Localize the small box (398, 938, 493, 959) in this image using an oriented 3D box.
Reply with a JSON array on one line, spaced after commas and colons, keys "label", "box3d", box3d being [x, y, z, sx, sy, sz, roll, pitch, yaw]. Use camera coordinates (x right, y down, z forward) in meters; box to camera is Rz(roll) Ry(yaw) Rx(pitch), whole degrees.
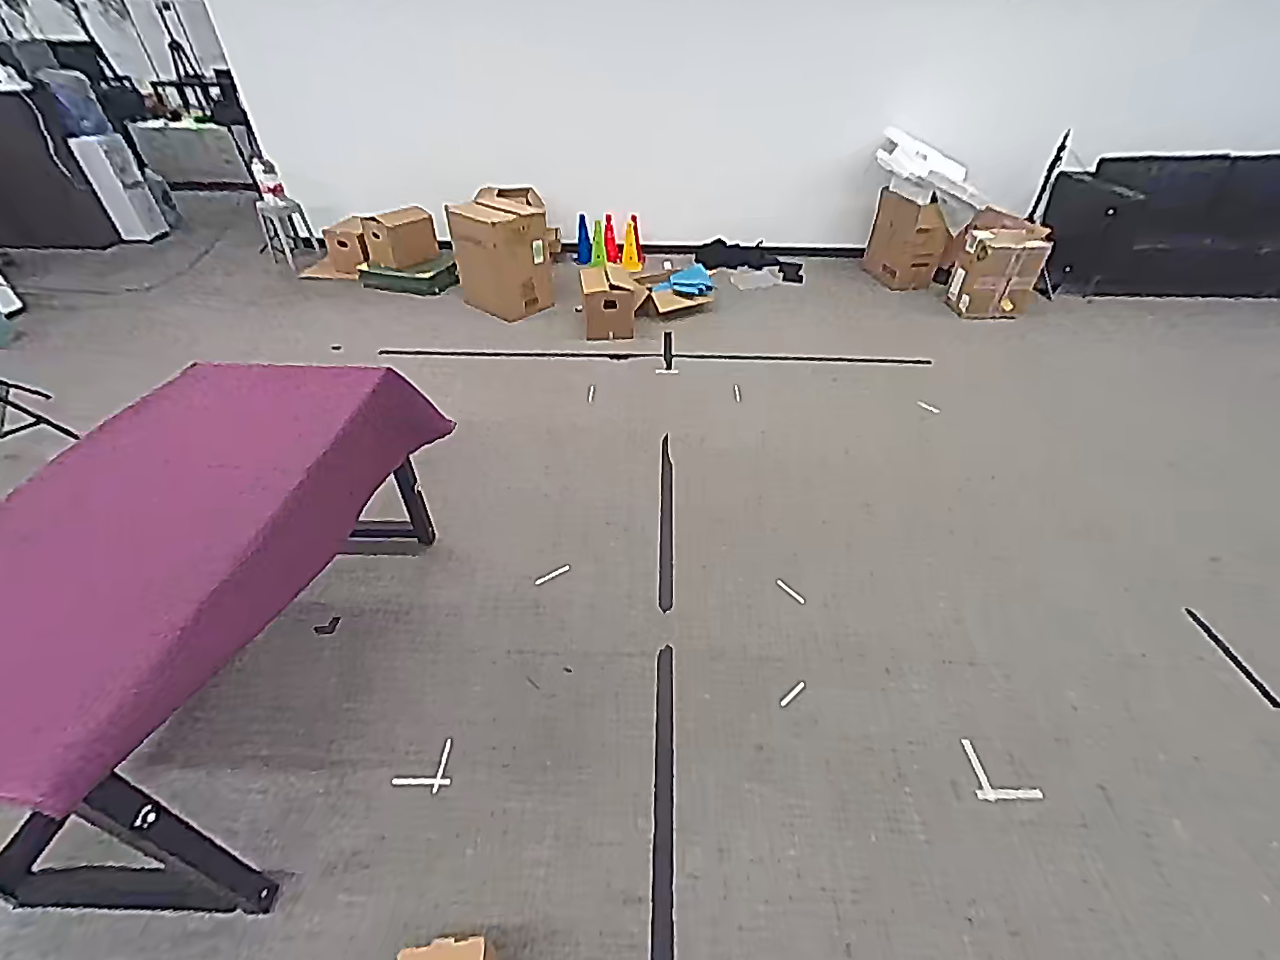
[{"label": "small box", "box3d": [-0.376, 1.019, 1.033, 0.168, 0.176, 0.179, -4, 39, -6]}]
